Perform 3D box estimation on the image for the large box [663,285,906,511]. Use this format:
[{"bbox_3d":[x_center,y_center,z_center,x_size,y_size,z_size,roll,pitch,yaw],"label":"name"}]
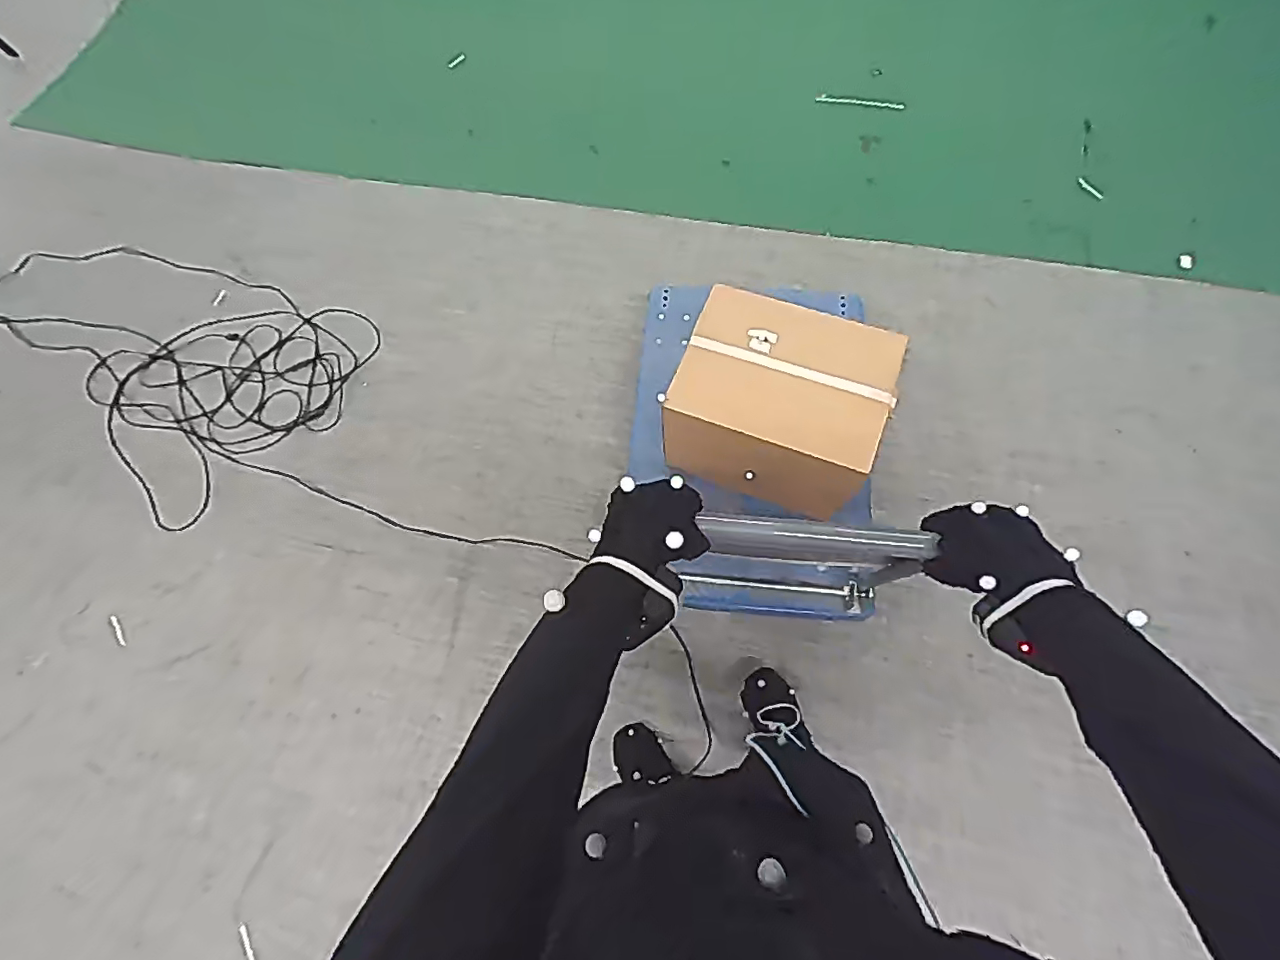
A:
[{"bbox_3d":[0.298,-0.165,1.186,0.408,0.320,0.320,19,73,12],"label":"large box"}]
